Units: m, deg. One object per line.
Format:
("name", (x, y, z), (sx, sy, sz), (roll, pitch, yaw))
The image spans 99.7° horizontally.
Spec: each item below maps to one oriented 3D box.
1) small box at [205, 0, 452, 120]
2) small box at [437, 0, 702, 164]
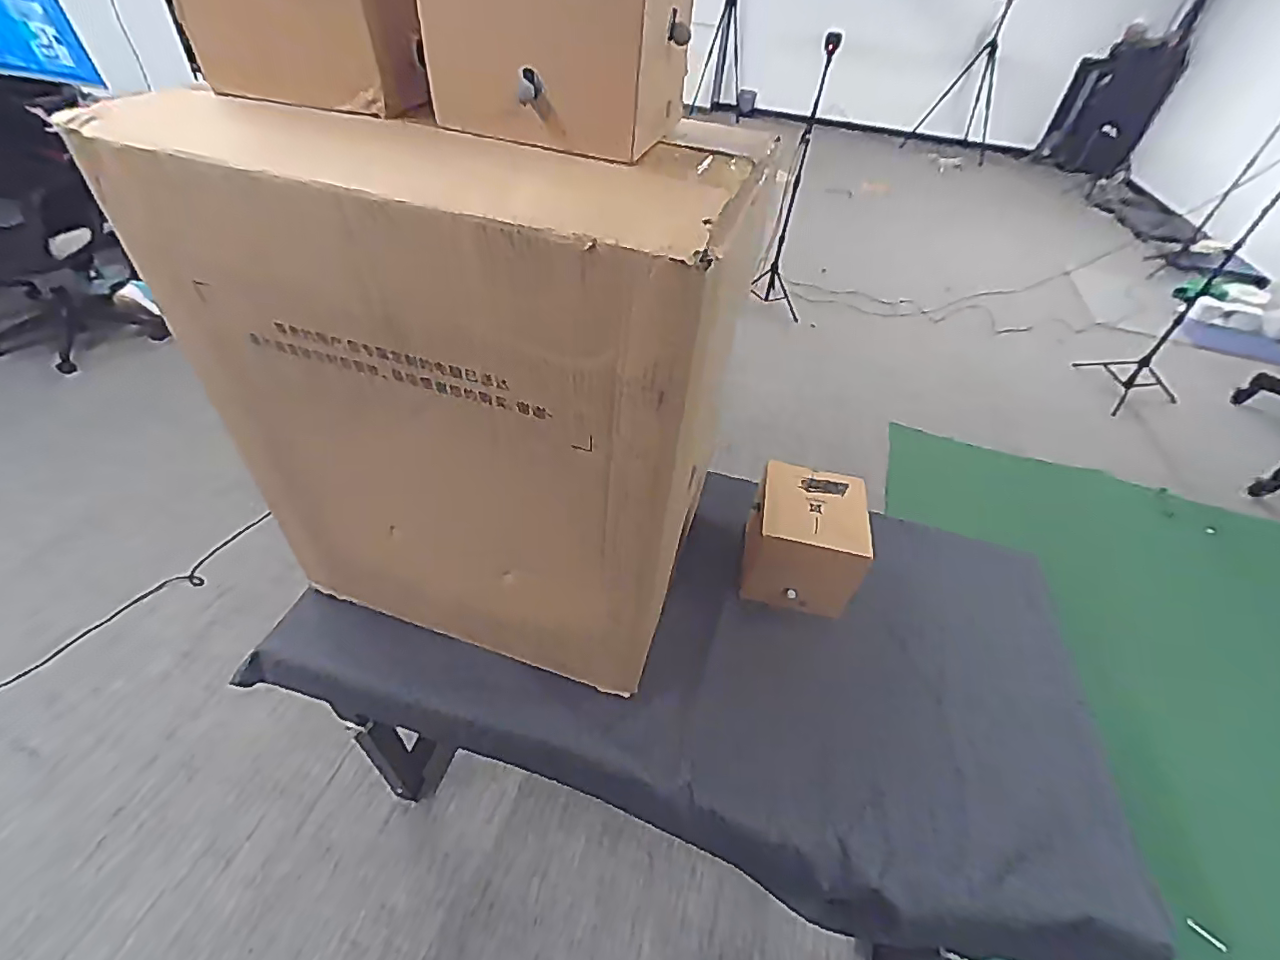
("small box", (-0.260, -0.437, 0.475), (0.179, 0.176, 0.168), (13, 47, 6))
("small box", (-0.047, -0.380, 0.445), (0.179, 0.176, 0.168), (16, 46, 7))
